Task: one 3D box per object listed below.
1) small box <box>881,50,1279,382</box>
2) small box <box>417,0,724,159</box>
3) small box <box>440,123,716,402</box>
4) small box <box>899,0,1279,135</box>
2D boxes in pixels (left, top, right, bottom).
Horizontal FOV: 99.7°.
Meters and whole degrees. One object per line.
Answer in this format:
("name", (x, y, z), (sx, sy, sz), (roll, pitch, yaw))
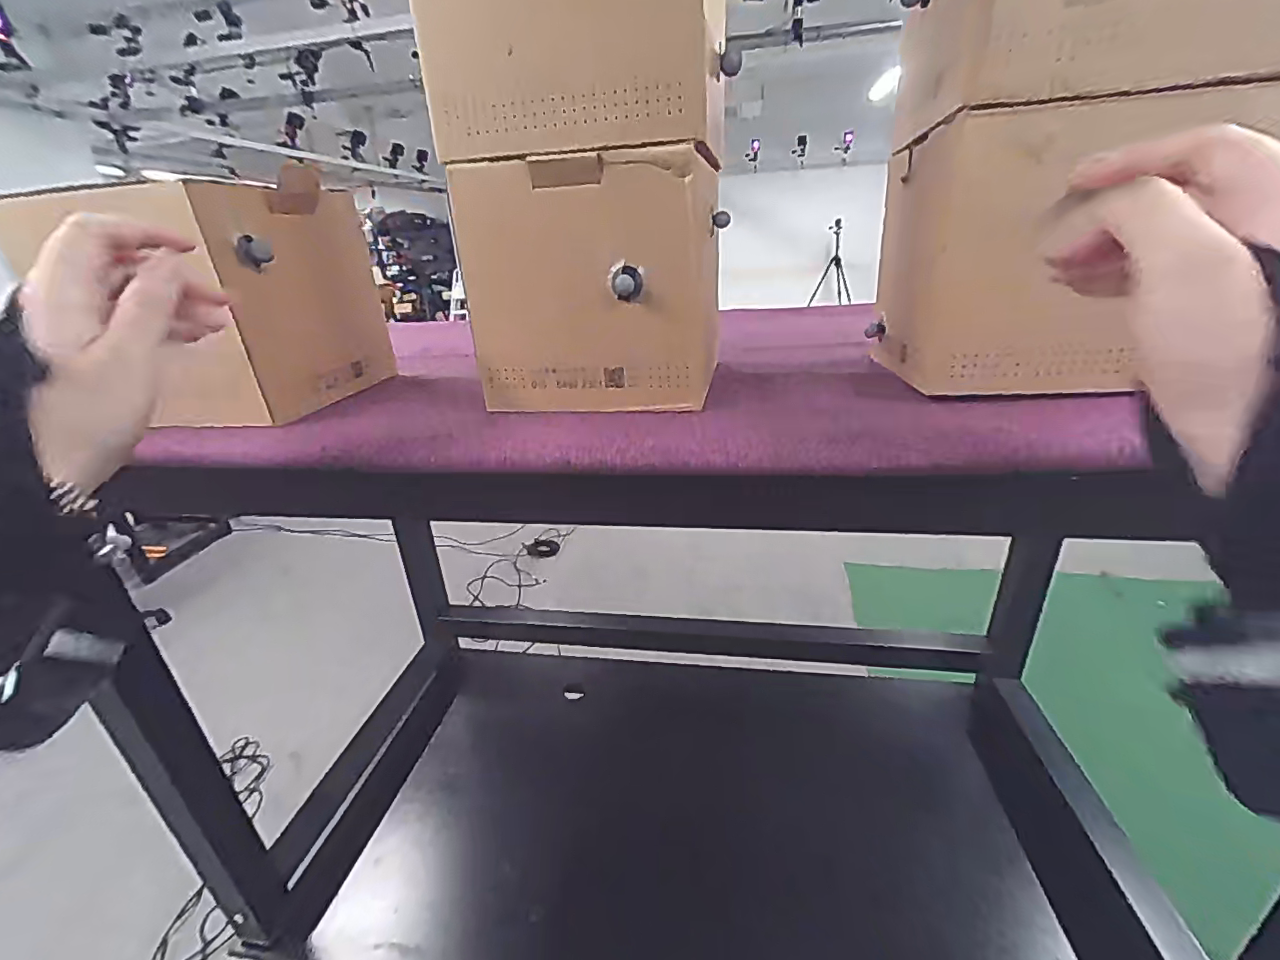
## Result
("small box", (0.282, -0.167, 0.386), (0.179, 0.176, 0.168), (0, 22, 9))
("small box", (-0.036, -0.314, 0.365), (0.179, 0.176, 0.168), (2, 26, 11))
("small box", (-0.027, -0.163, 0.431), (0.168, 0.176, 0.179), (2, 24, 11))
("small box", (0.272, -0.319, 0.330), (0.179, 0.176, 0.168), (1, 22, 10))
